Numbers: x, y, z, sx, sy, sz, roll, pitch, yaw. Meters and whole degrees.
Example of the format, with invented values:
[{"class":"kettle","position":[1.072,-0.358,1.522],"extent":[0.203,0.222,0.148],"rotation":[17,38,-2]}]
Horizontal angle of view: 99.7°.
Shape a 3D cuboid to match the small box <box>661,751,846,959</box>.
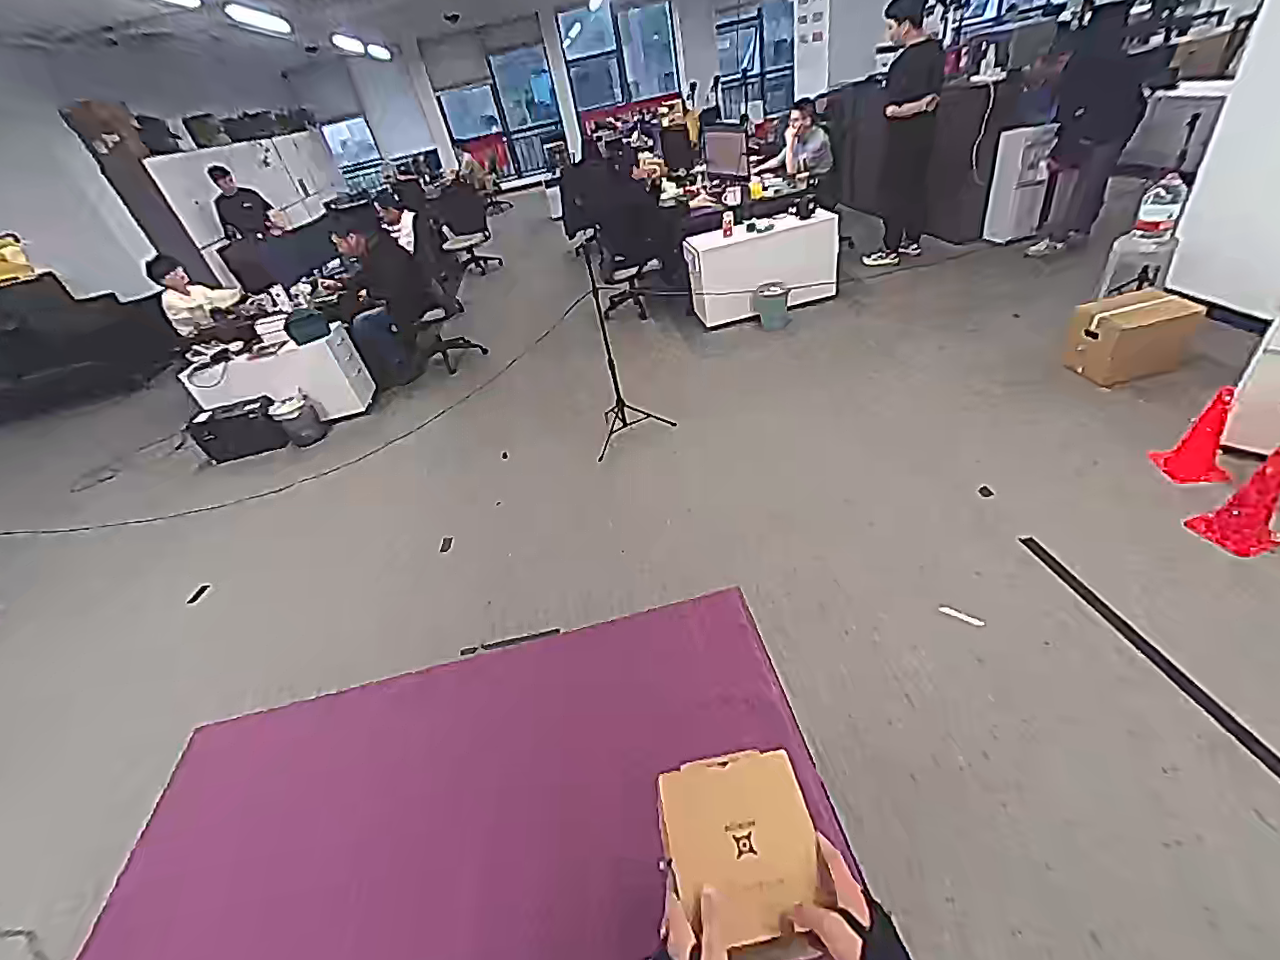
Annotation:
[{"class":"small box","position":[0.119,0.463,0.653],"extent":[0.168,0.176,0.179],"rotation":[-8,39,-5]}]
